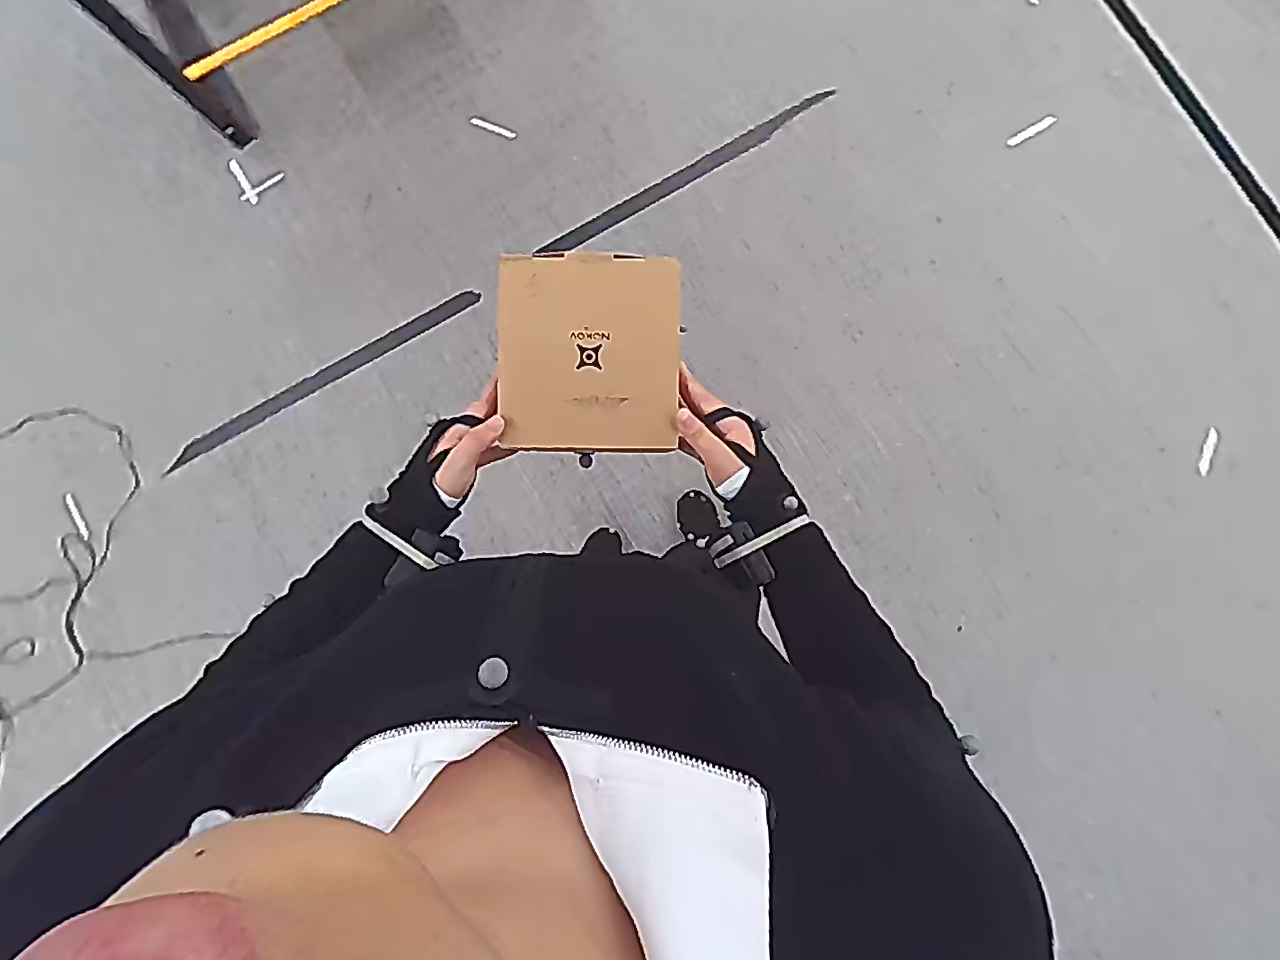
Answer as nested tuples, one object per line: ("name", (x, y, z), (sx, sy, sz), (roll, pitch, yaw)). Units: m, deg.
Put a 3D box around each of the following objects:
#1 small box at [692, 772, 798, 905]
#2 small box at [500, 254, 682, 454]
("small box", (0.234, 0.817, 1.261), (0.168, 0.176, 0.179), (-33, 86, -1))
("small box", (-0.048, -0.118, 0.569), (0.168, 0.176, 0.179), (0, 92, -2))
